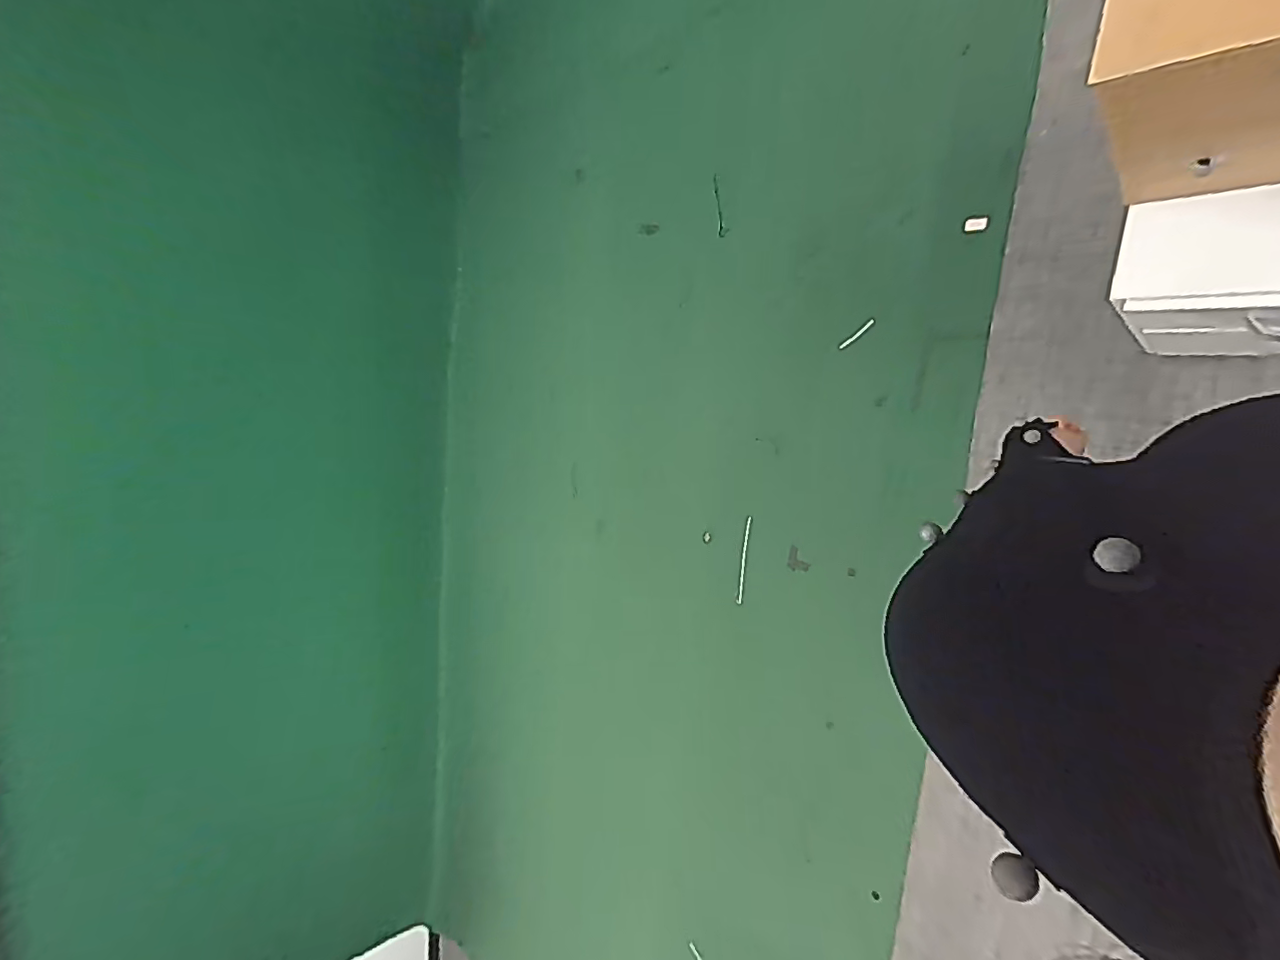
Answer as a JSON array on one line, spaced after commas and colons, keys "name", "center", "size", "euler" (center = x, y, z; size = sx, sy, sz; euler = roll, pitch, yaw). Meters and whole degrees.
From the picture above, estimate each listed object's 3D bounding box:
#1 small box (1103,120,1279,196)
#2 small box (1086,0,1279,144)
[{"name": "small box", "center": [0.635, -0.428, 0.578], "size": [0.179, 0.176, 0.168], "euler": [14, 100, 45]}, {"name": "small box", "center": [0.520, -0.421, 0.464], "size": [0.179, 0.176, 0.168], "euler": [15, 102, 43]}]
